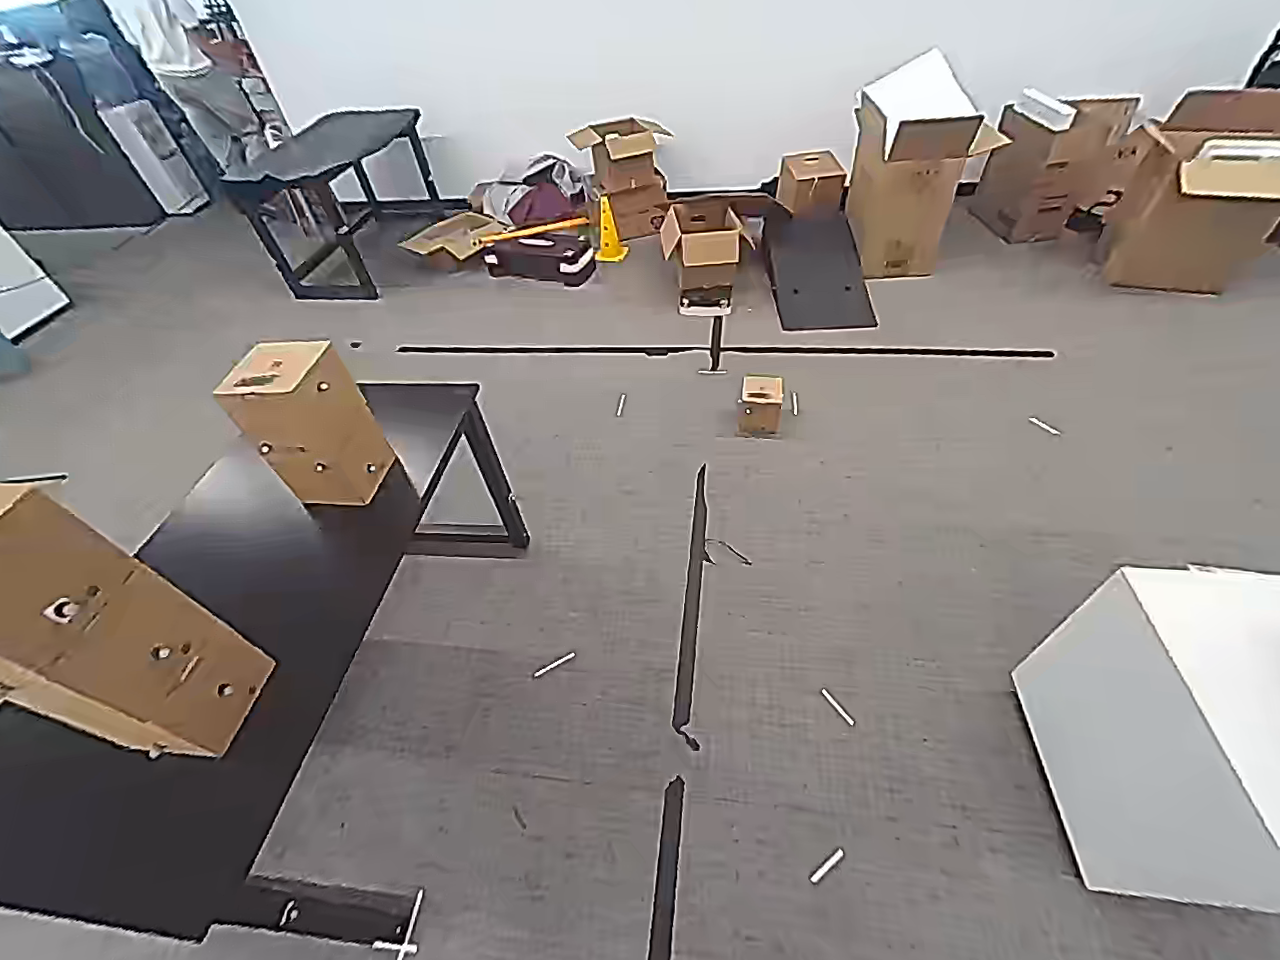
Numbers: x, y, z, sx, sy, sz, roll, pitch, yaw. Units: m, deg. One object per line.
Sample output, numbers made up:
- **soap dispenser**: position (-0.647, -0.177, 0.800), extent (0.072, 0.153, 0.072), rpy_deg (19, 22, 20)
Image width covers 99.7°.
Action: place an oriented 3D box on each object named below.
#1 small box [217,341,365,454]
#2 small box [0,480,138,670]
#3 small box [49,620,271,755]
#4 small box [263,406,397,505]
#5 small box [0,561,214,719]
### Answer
- **small box**: position (-0.709, -0.168, 1.127), extent (0.168, 0.176, 0.179), rpy_deg (0, 47, 5)
- **small box**: position (-0.790, 0.115, 0.650), extent (0.179, 0.176, 0.168), rpy_deg (2, 49, 7)
- **small box**: position (-0.764, 0.338, 0.889), extent (0.179, 0.176, 0.168), rpy_deg (1, 47, 7)
- **small box**: position (-0.703, -0.057, 1.249), extent (0.179, 0.176, 0.168), rpy_deg (2, 48, 8)
- **small box**: position (-0.778, 0.226, 0.769), extent (0.179, 0.176, 0.168), rpy_deg (2, 48, 7)
